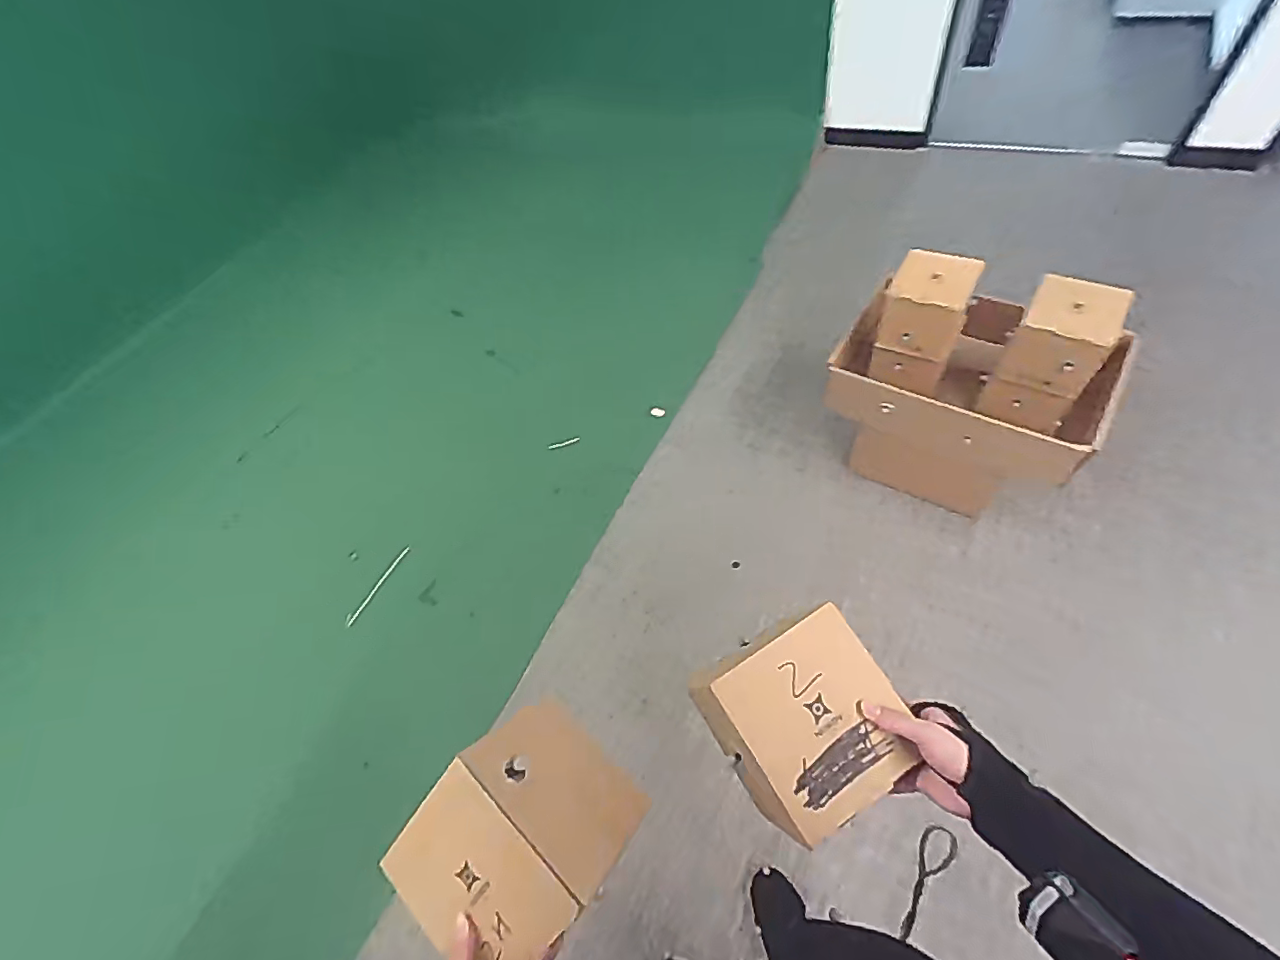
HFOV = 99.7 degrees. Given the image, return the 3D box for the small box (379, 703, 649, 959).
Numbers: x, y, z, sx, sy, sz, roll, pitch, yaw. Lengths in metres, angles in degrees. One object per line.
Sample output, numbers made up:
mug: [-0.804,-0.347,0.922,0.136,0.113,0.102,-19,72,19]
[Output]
small box: [-0.123,0.364,0.569,0.179,0.176,0.168,42,105,18]

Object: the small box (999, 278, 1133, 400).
small box: [0.930,-0.308,1.197,0.168,0.176,0.179,27,66,25]

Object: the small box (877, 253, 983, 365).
small box: [0.699,-0.416,1.321,0.168,0.176,0.179,24,65,24]

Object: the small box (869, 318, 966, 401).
small box: [0.738,-0.339,1.457,0.179,0.176,0.168,24,66,25]
